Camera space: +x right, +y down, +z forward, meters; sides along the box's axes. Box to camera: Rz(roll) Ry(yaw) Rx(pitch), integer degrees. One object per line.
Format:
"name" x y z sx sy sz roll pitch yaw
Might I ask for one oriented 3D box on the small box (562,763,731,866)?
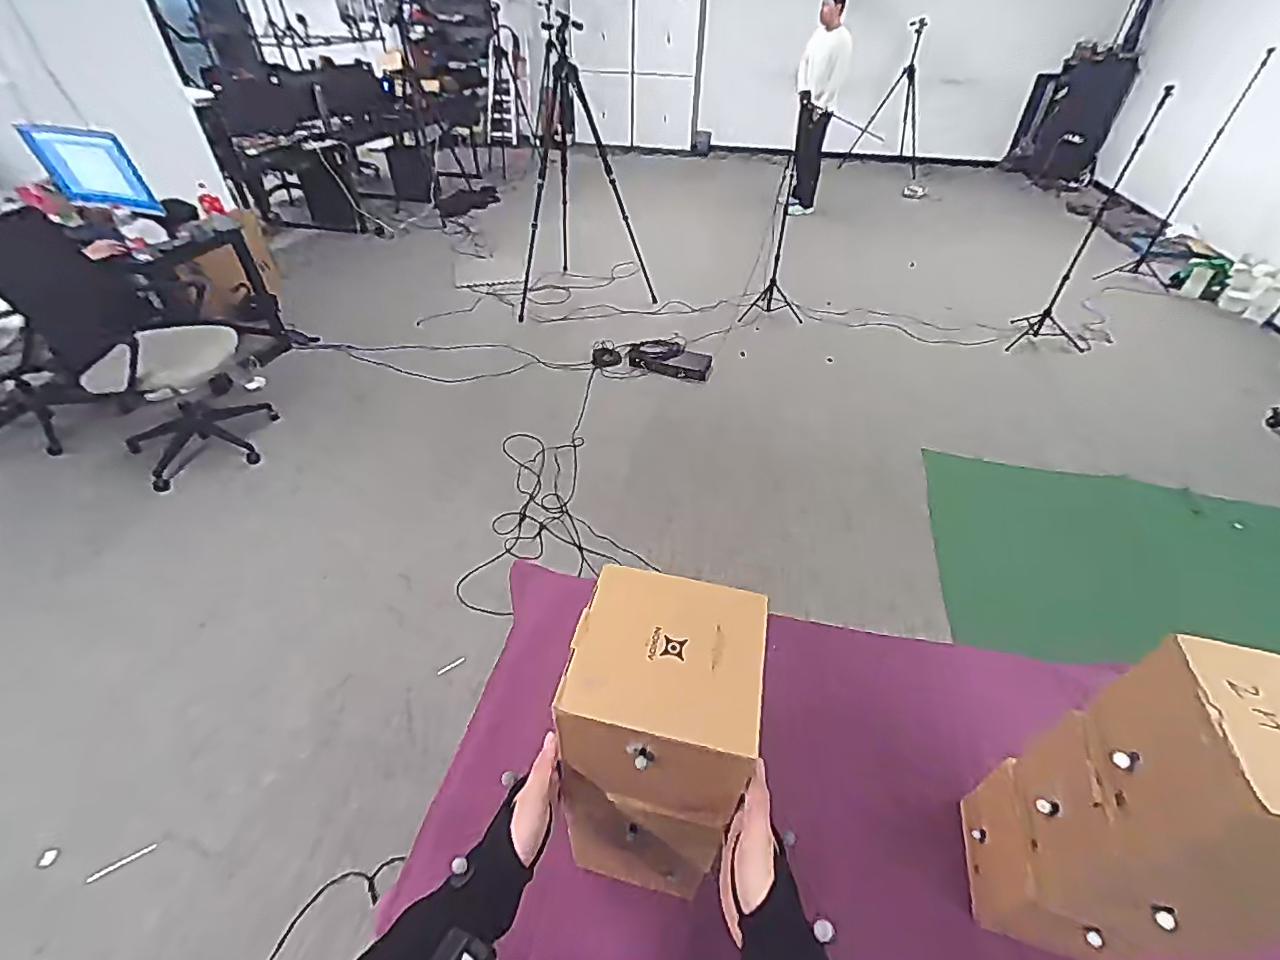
"small box" 0.018 0.341 0.659 0.179 0.176 0.168 9 42 8

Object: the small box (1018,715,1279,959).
"small box" 0.565 0.405 0.615 0.179 0.176 0.168 12 43 13

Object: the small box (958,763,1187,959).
"small box" 0.564 0.522 0.731 0.179 0.176 0.168 12 43 13

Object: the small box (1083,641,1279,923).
"small box" 0.573 0.284 0.503 0.179 0.176 0.168 12 42 13

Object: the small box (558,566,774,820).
"small box" 0.030 0.217 0.553 0.179 0.176 0.168 11 42 8
